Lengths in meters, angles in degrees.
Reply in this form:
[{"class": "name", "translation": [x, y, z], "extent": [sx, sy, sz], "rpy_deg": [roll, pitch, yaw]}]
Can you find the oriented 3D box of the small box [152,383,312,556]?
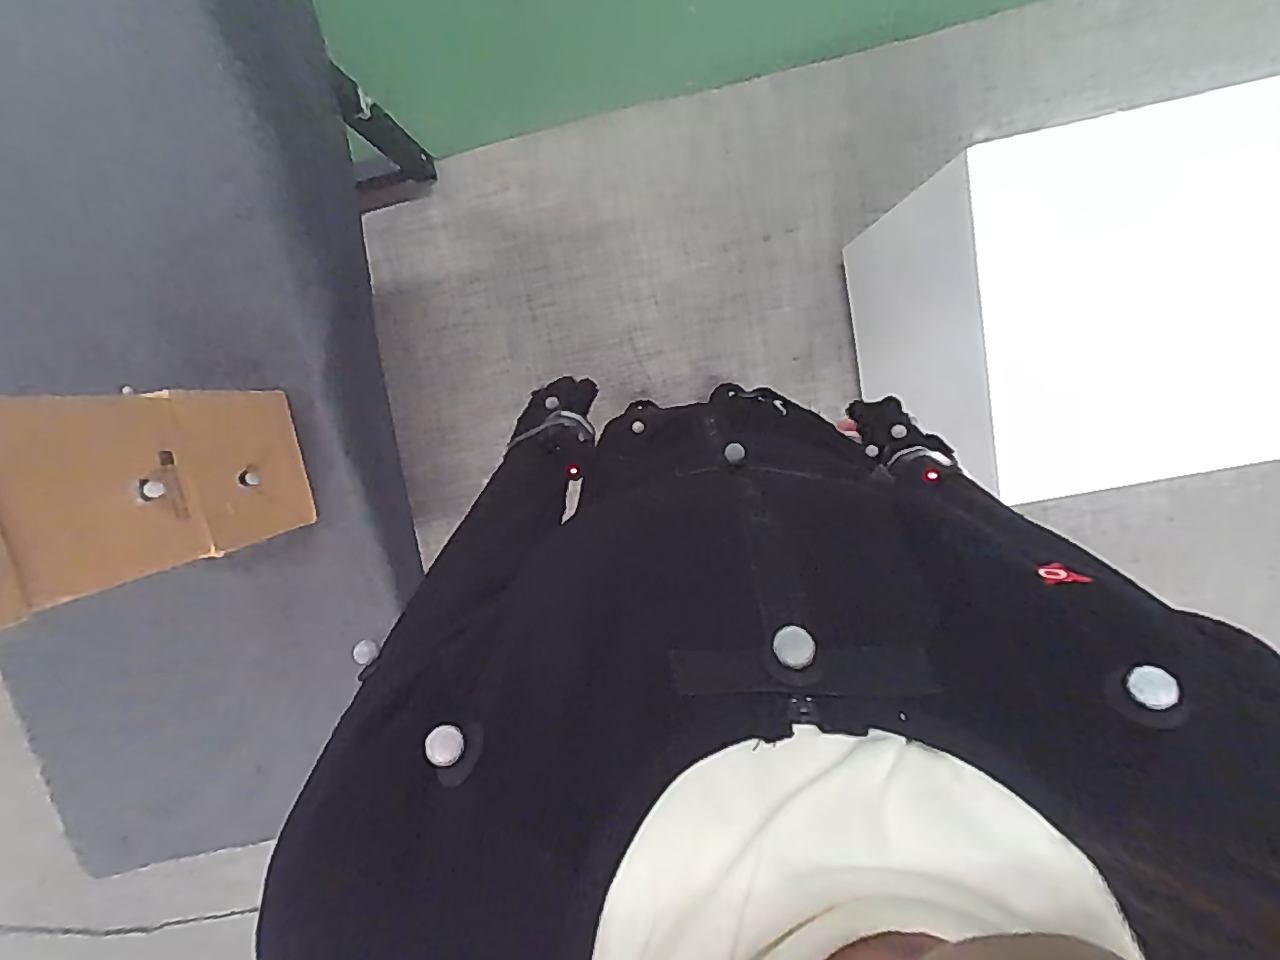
[{"class": "small box", "translation": [-0.532, -0.017, 0.646], "extent": [0.168, 0.176, 0.179], "rpy_deg": [-8, 99, 6]}]
